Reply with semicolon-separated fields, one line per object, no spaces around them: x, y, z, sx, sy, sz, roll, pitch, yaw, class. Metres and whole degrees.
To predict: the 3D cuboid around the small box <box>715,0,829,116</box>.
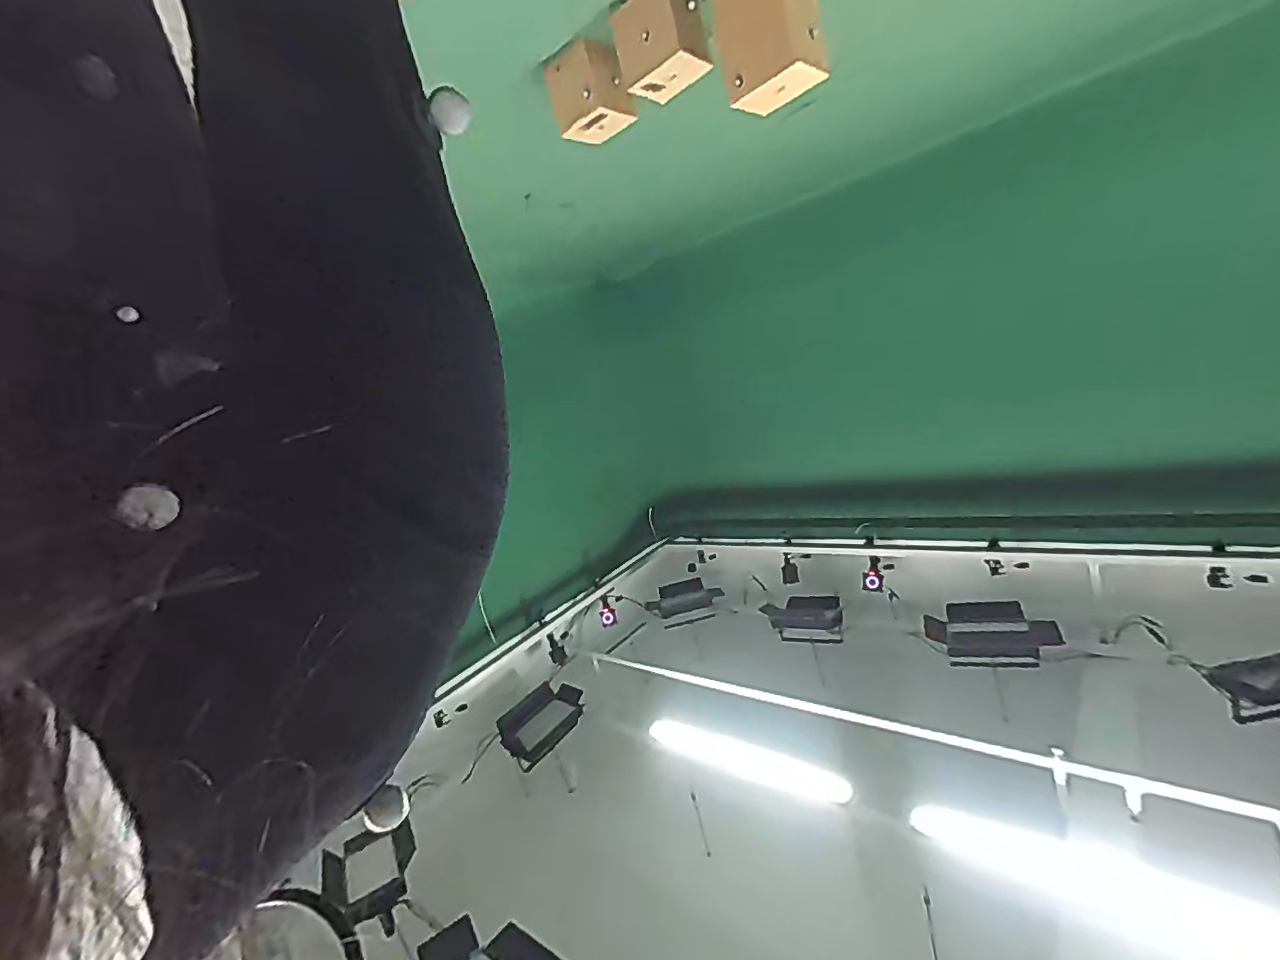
0.293;-0.956;1.206;0.179;0.176;0.168;-3;-163;45;small box

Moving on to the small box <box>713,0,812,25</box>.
0.254;-1.110;1.170;0.168;0.176;0.179;-4;-164;43;small box
